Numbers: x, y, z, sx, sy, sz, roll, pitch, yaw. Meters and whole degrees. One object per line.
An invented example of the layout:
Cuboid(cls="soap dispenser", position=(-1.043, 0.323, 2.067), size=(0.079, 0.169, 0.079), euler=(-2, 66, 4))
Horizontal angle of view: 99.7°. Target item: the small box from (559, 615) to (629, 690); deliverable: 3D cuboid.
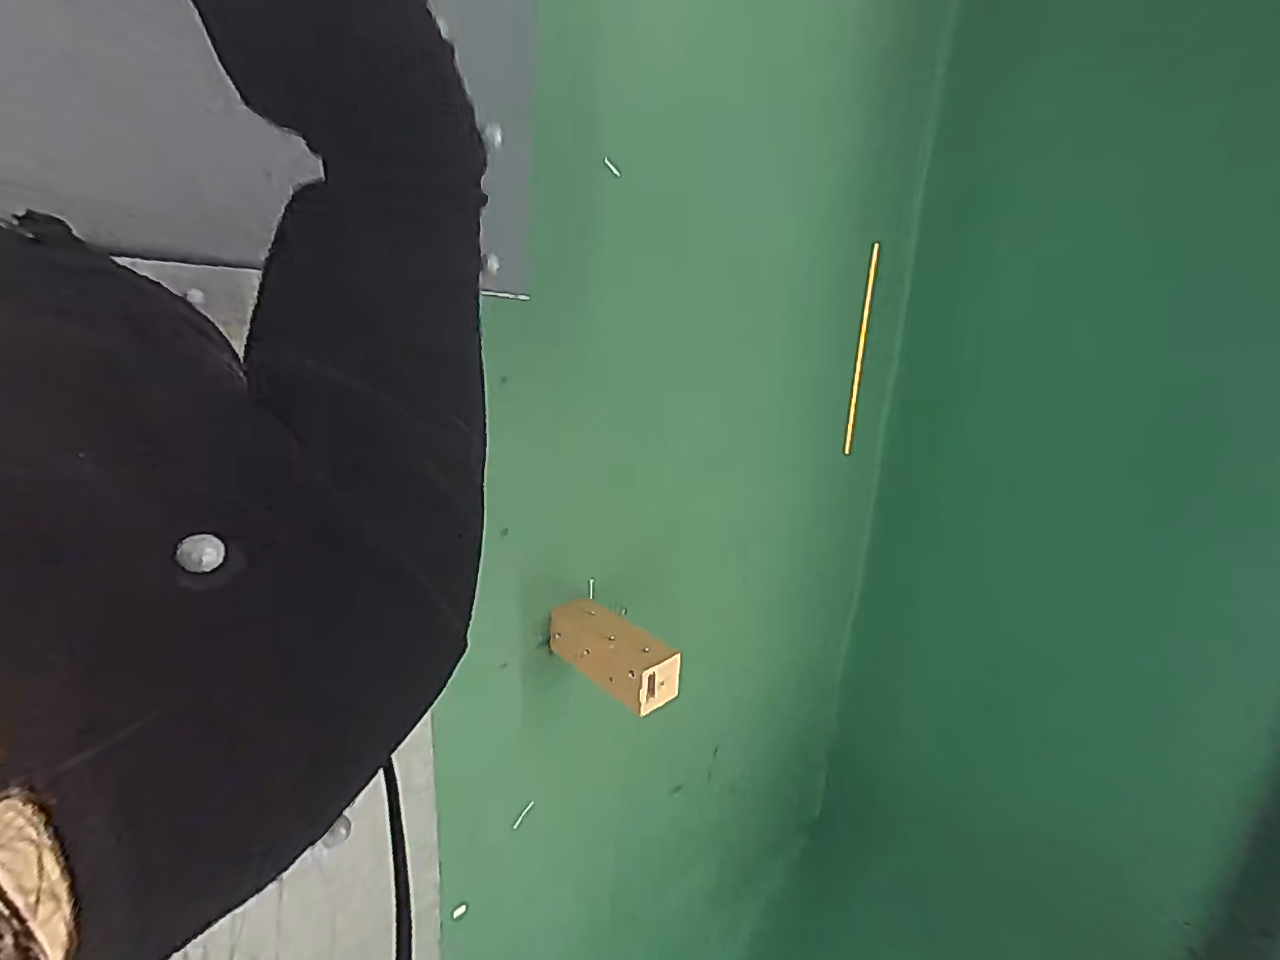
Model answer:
Cuboid(cls="small box", position=(-0.163, 0.599, 1.908), size=(0.179, 0.176, 0.168), euler=(-11, 110, -45))

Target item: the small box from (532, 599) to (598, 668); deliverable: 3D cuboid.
Cuboid(cls="small box", position=(-0.280, 0.564, 2.014), size=(0.179, 0.176, 0.168), euler=(-9, 108, -45))
